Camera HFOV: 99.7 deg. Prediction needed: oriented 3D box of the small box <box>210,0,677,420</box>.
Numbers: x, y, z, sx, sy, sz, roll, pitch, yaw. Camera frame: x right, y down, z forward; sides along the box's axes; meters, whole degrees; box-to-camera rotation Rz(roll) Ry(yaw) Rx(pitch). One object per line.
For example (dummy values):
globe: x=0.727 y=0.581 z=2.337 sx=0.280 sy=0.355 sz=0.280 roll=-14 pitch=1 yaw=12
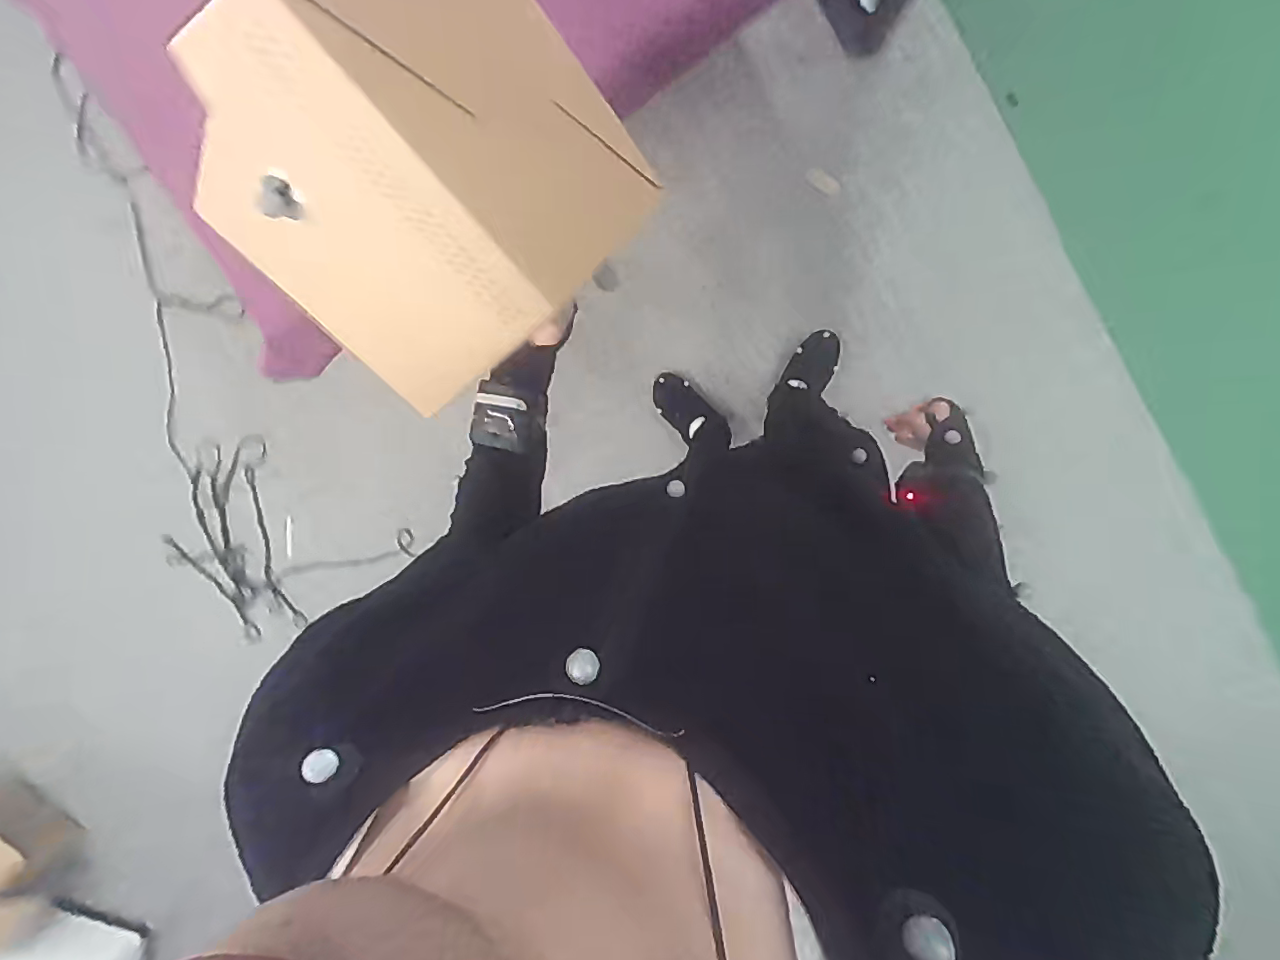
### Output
small box: x=-0.108 y=-0.174 z=0.333 sx=0.176 sy=0.168 sz=0.179 roll=-20 pitch=121 yaw=45
